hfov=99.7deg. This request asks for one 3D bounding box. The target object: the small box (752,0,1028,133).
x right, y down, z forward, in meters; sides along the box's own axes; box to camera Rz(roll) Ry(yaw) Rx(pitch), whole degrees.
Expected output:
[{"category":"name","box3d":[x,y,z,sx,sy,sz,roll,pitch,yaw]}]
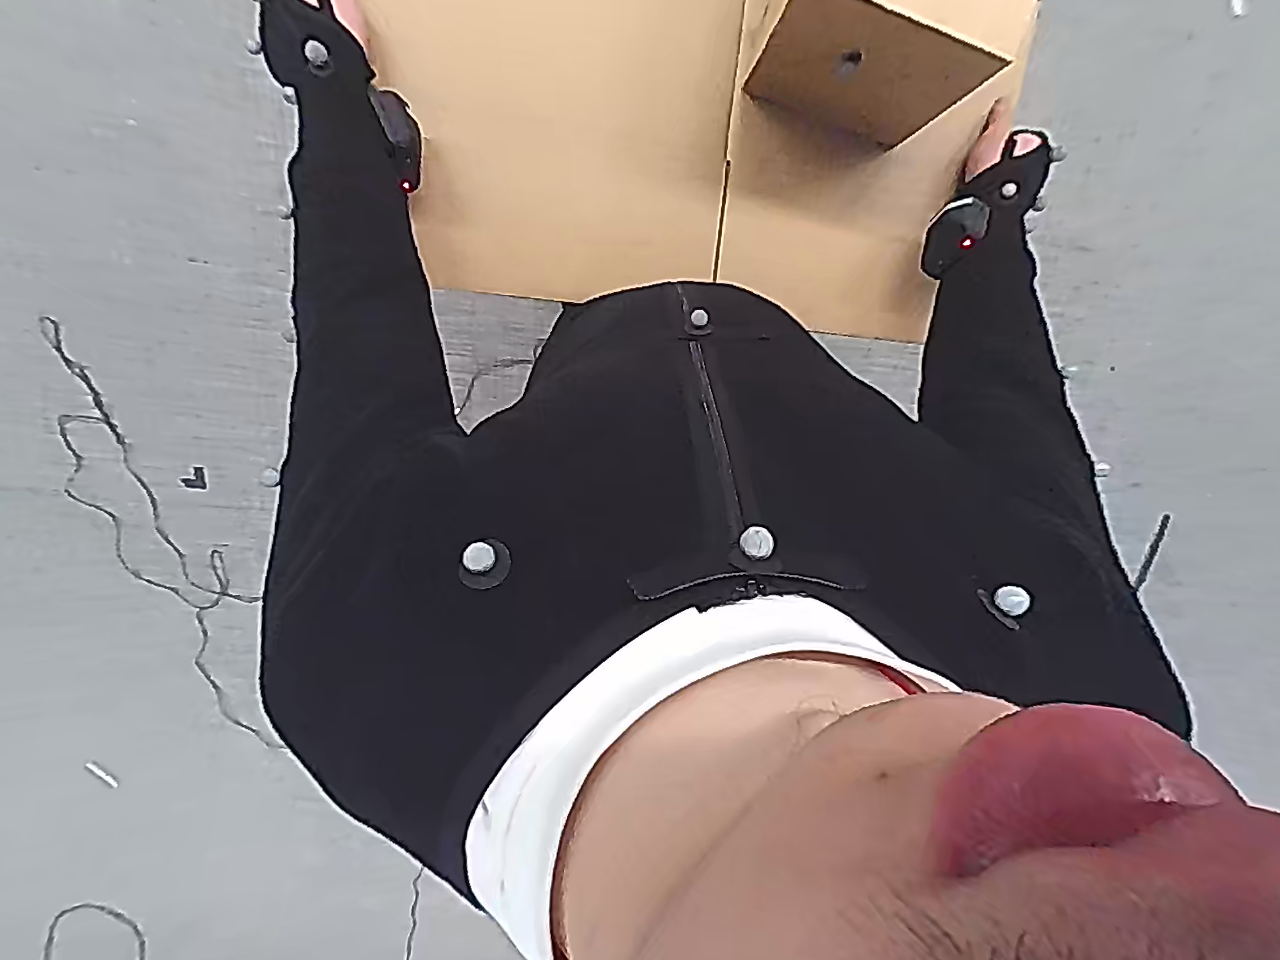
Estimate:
[{"category":"small box","box3d":[0.214,-0.436,0.464,0.179,0.176,0.168,15,102,-7]}]
